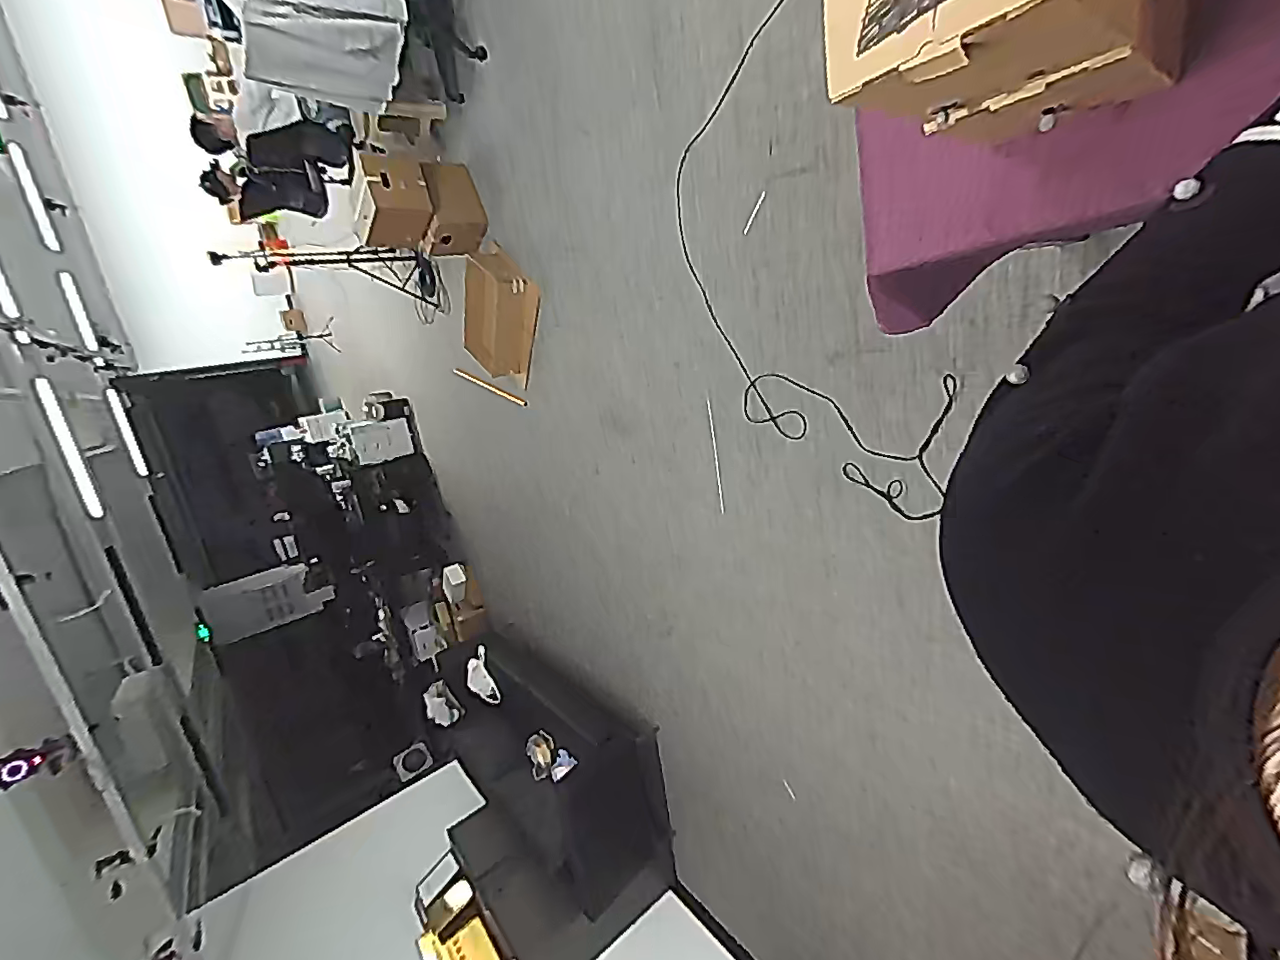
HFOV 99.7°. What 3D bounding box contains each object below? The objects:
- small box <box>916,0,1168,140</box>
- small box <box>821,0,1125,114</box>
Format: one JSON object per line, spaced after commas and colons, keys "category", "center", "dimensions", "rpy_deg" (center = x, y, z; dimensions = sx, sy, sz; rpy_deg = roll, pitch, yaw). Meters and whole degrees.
{"category": "small box", "center": [0.388, -0.451, 0.523], "dimensions": [0.168, 0.176, 0.179], "rpy_deg": [11, 114, 50]}
{"category": "small box", "center": [0.261, -0.415, 0.423], "dimensions": [0.168, 0.176, 0.179], "rpy_deg": [12, 114, 50]}
